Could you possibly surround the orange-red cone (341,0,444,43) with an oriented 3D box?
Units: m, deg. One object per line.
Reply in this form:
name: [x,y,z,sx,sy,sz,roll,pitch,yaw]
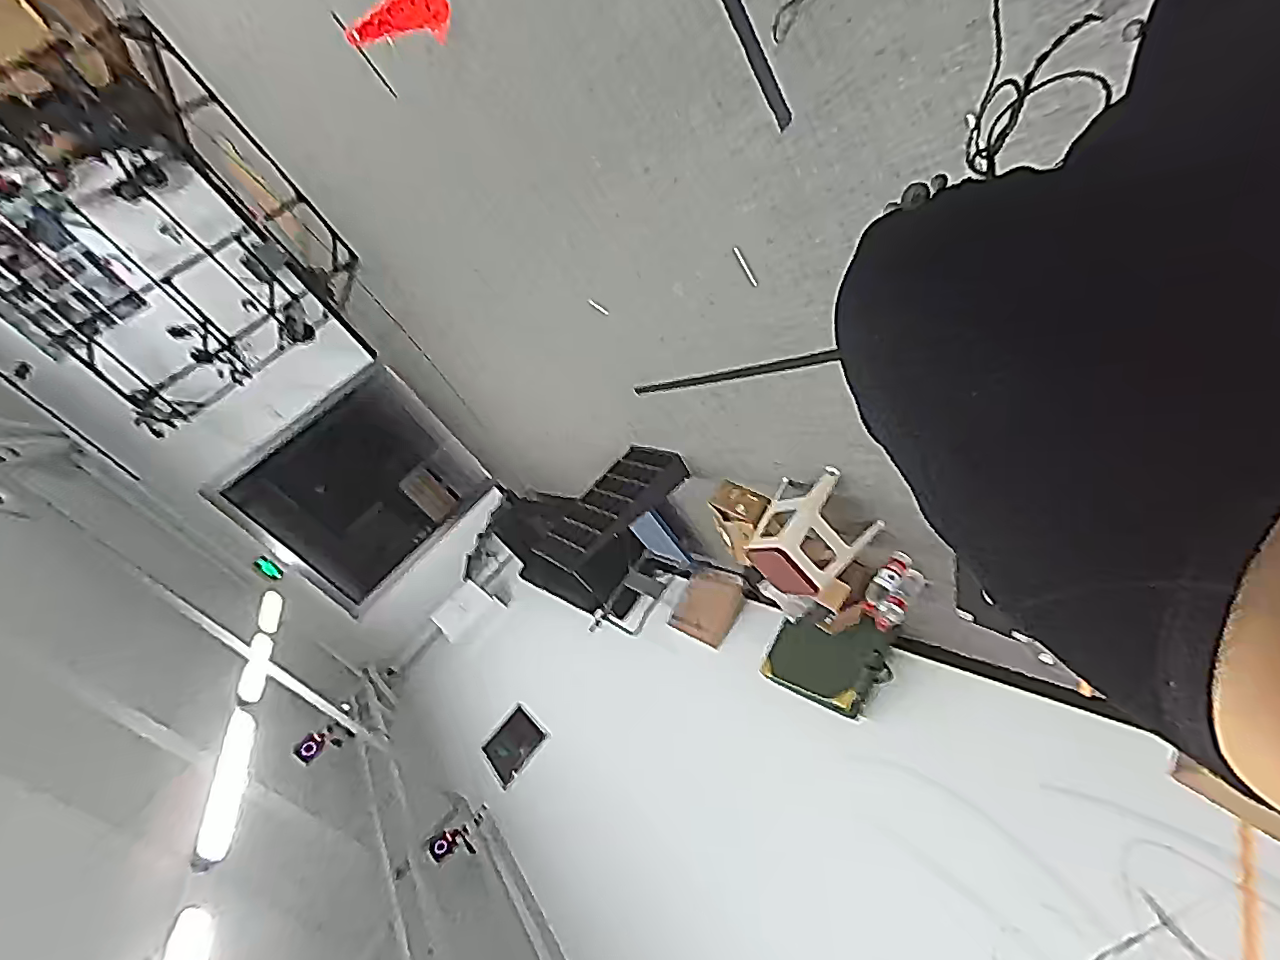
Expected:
orange-red cone: [-0.909,-1.654,1.928,0.199,0.360,0.198,49,159,-20]
